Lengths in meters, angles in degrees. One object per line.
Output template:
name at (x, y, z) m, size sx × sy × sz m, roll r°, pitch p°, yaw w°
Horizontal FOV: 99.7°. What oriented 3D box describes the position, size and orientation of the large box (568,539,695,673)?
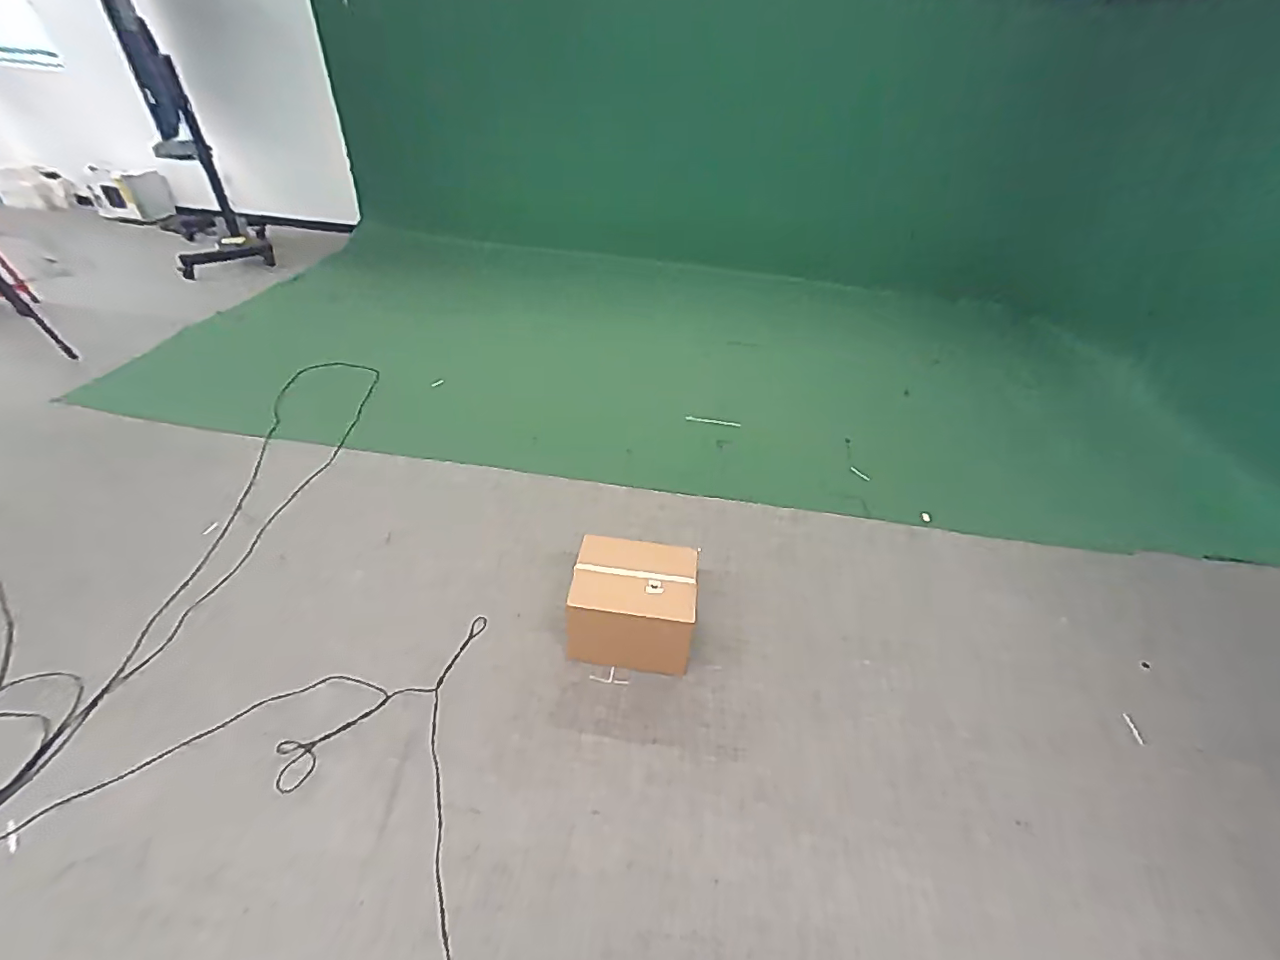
large box at (-0.030, 0.438, 1.882) m, size 0.408 × 0.320 × 0.320 m, roll 7°, pitch 40°, yaw 2°
